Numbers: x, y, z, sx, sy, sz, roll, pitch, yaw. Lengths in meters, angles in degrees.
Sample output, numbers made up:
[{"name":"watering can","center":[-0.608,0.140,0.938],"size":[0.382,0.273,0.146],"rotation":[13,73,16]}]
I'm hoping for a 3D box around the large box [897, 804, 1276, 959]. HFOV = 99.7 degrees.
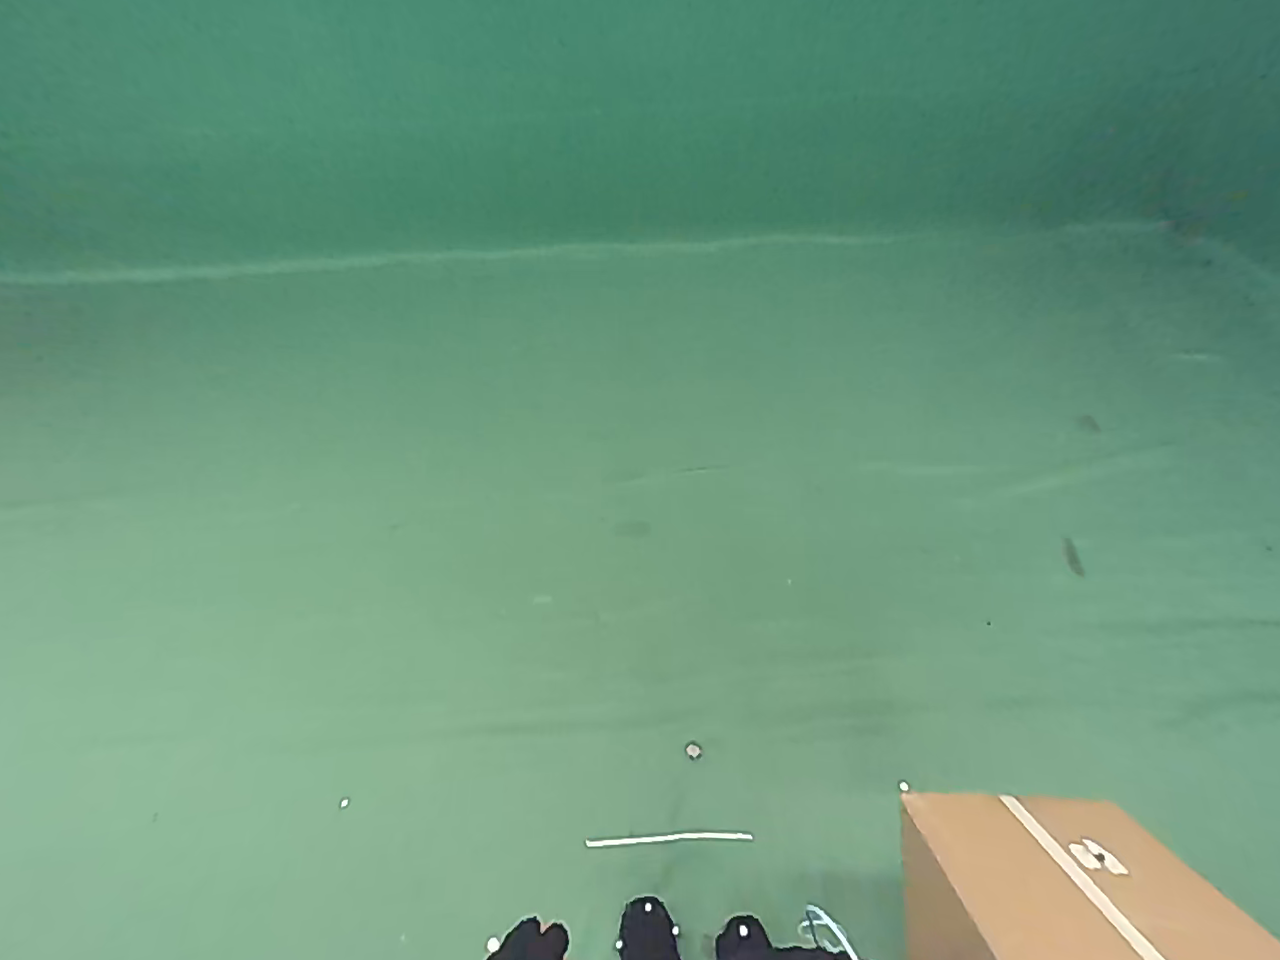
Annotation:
[{"name":"large box","center":[0.550,0.674,0.660],"size":[0.320,0.408,0.320],"rotation":[-1,90,7]}]
